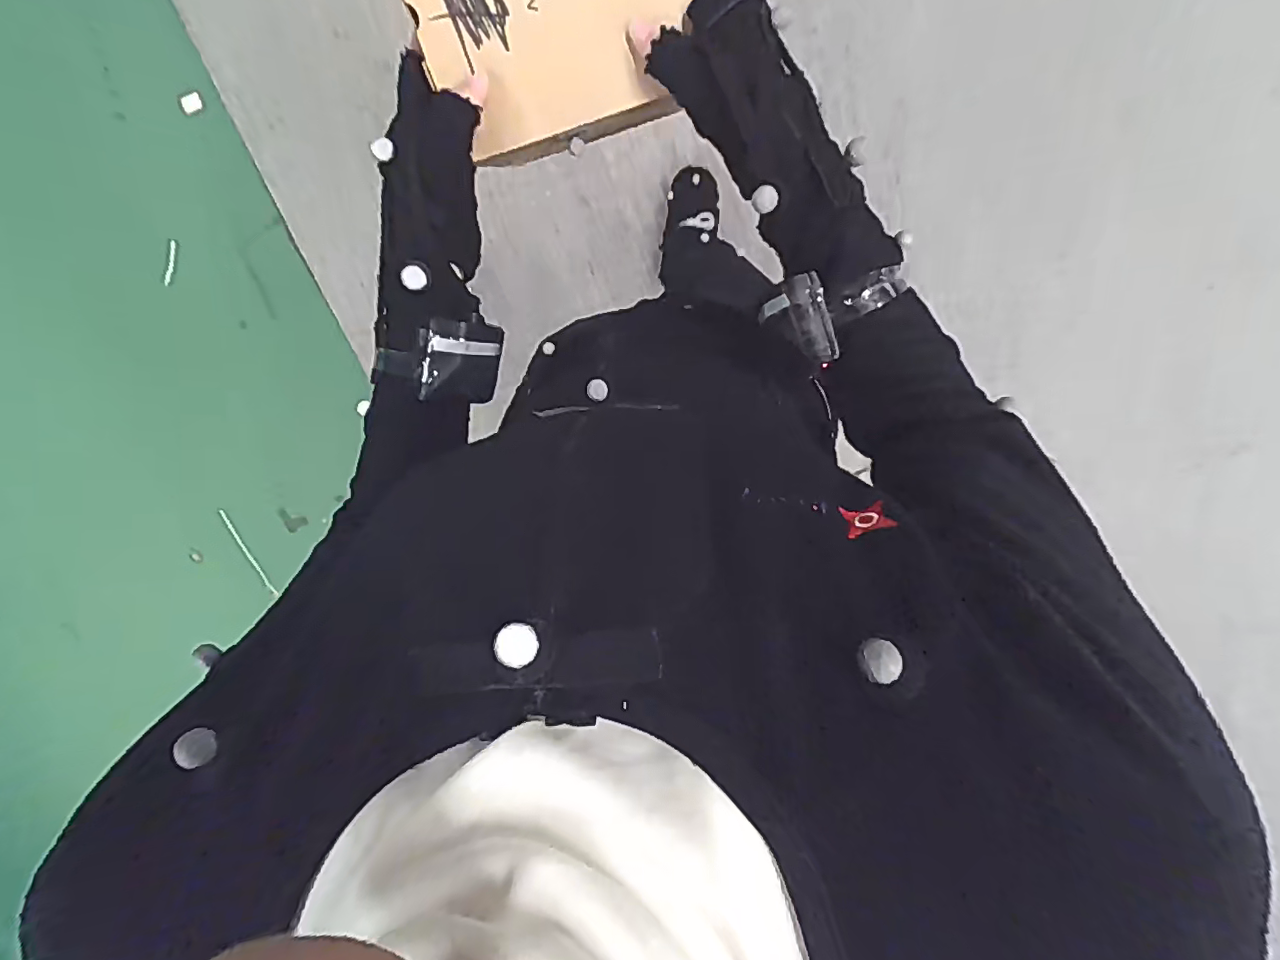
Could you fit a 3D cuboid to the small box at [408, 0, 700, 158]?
[{"bbox_3d":[-0.061,-0.356,0.403,0.179,0.176,0.168,-14,119,8],"label":"small box"}]
